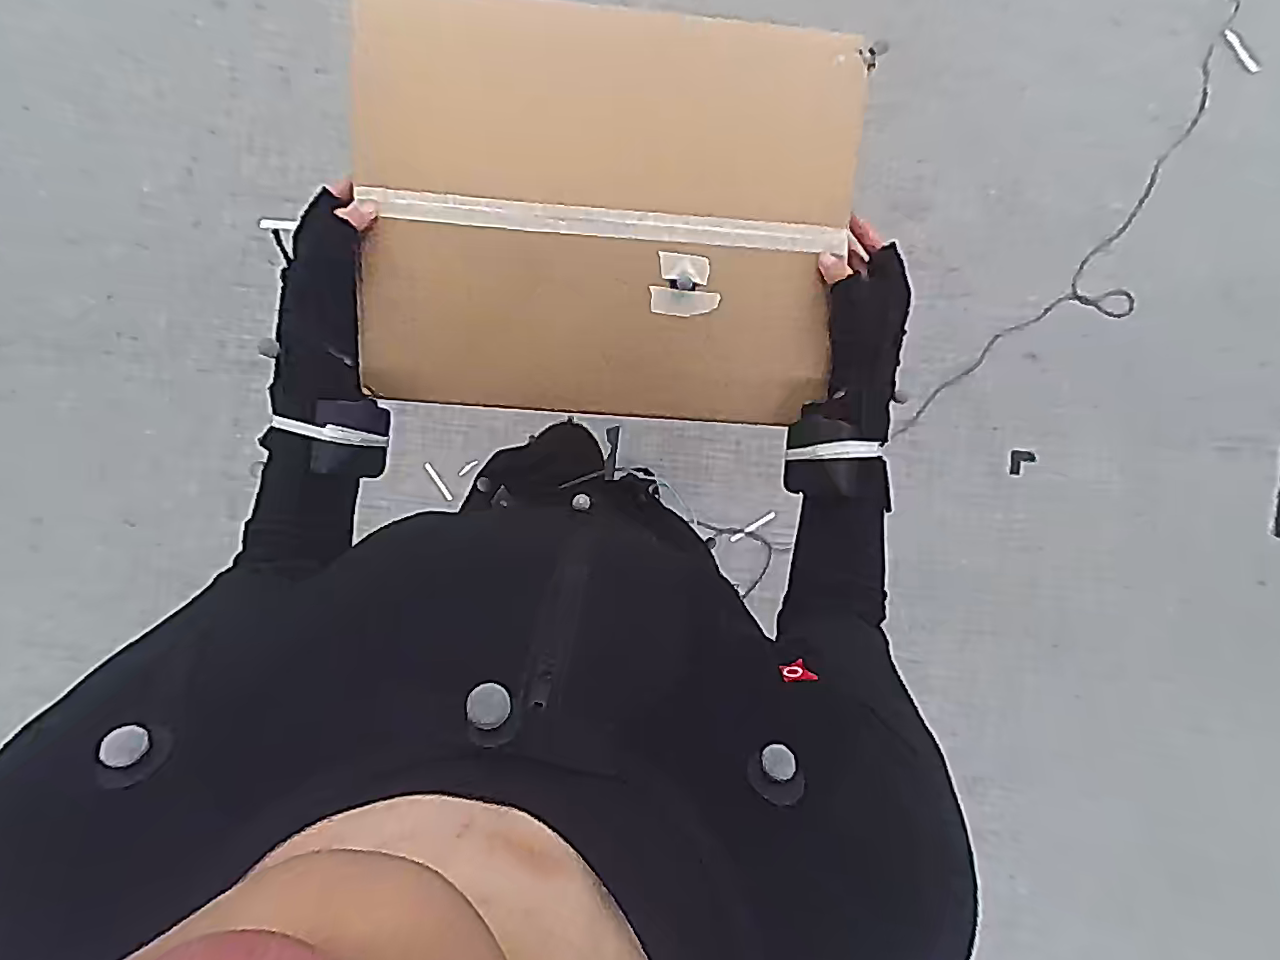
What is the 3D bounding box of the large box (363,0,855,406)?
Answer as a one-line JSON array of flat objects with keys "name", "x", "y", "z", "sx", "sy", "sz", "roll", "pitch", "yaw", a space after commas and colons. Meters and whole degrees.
[{"name": "large box", "x": -0.036, "y": -0.253, "z": 0.606, "sx": 0.408, "sy": 0.320, "sz": 0.320, "roll": 2, "pitch": 102, "yaw": -4}]
